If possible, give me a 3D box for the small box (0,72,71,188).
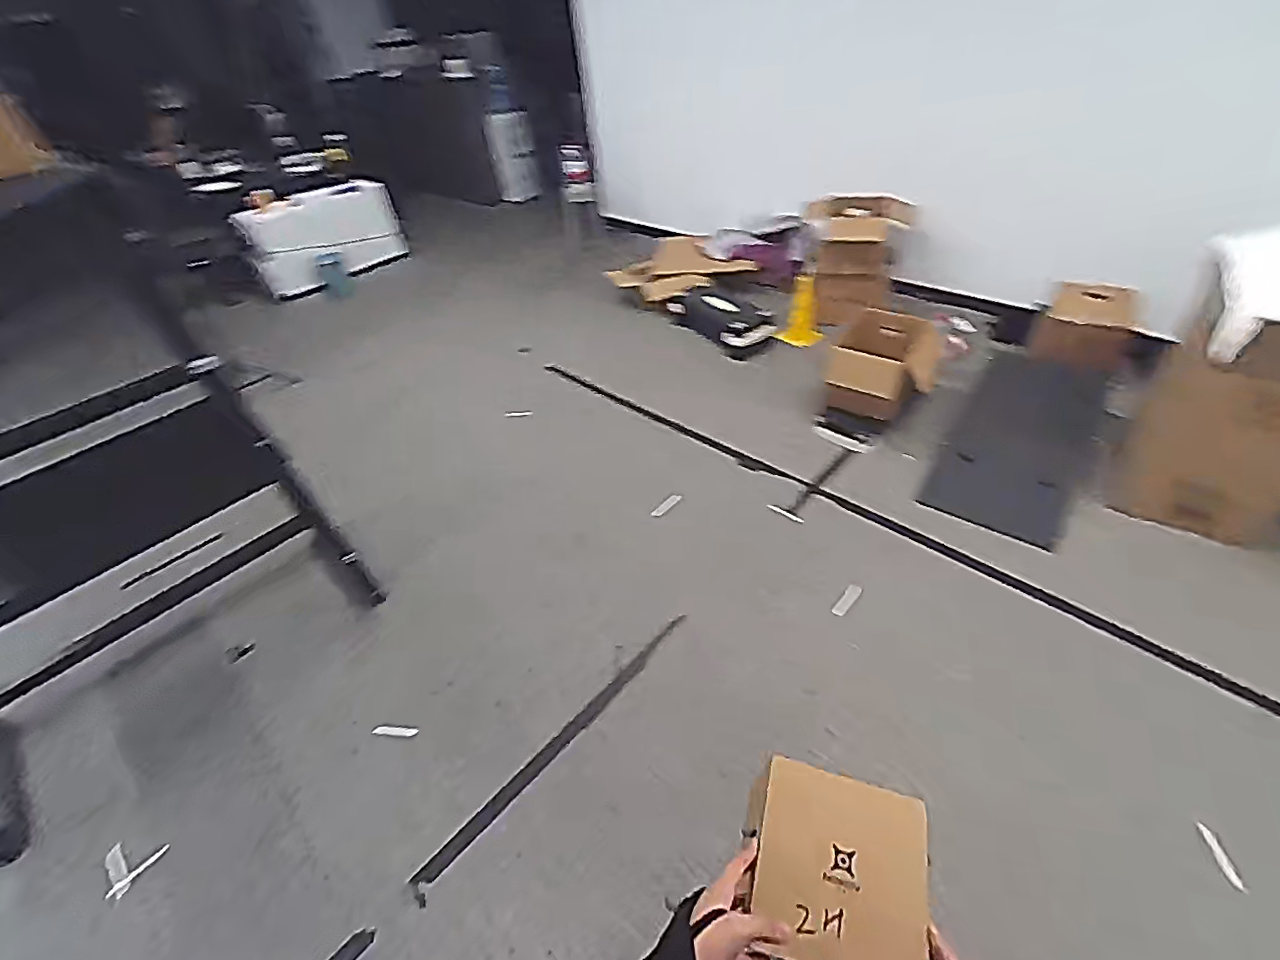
[{"bbox_3d":[-1.272,-0.676,1.055,0.168,0.176,0.179,-36,46,-27],"label":"small box"}]

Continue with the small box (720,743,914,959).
[{"bbox_3d":[0.188,0.426,0.602,0.168,0.176,0.179,12,52,11],"label":"small box"}]
